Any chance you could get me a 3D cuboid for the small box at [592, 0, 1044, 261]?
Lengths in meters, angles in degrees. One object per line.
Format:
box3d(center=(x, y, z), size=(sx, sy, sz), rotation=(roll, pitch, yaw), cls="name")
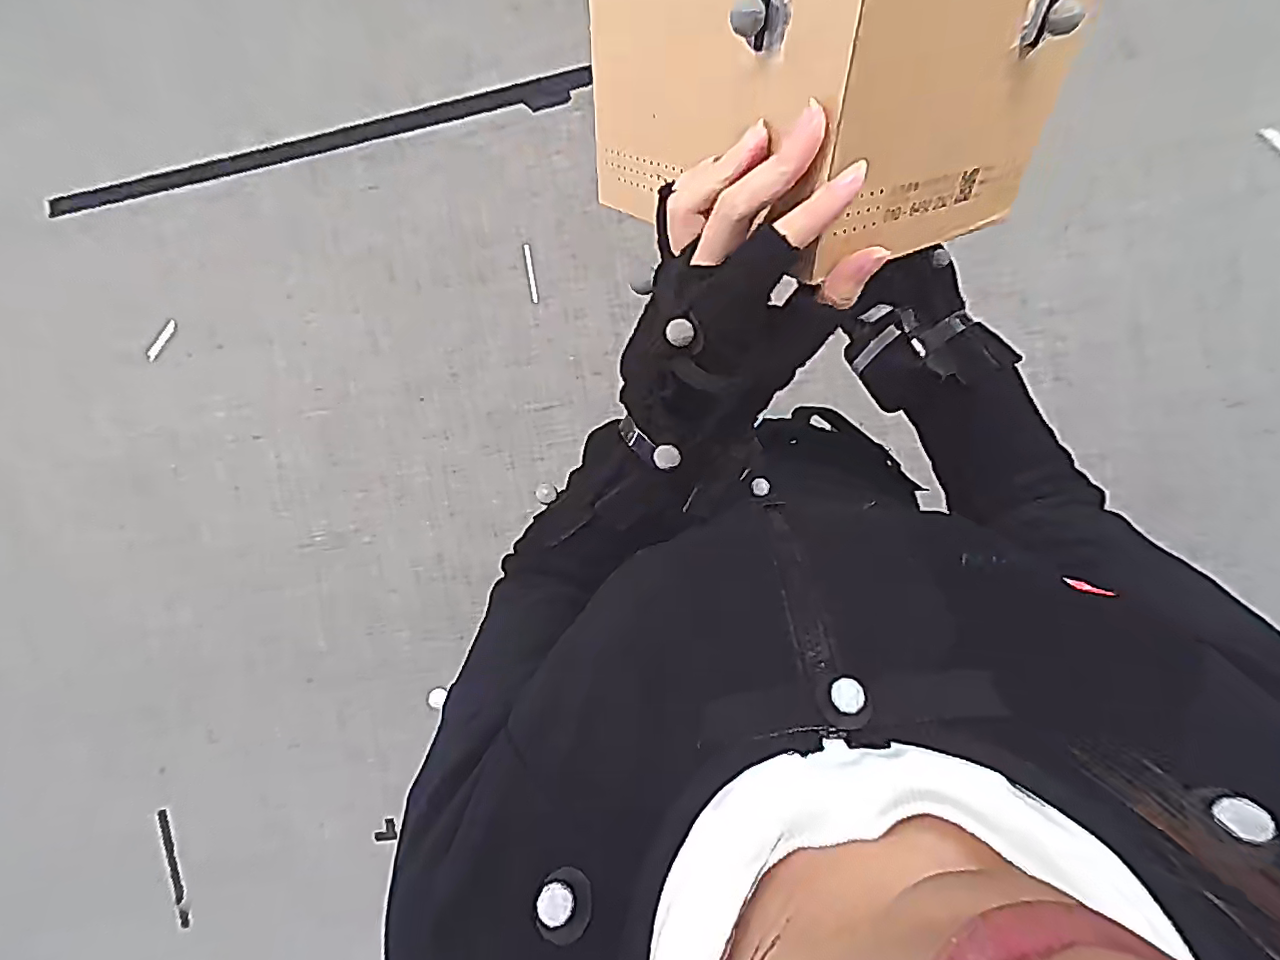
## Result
box3d(center=(0.089, -0.230, 0.290), size=(0.168, 0.179, 0.176), rotation=(-25, 135, -27), cls="small box")
